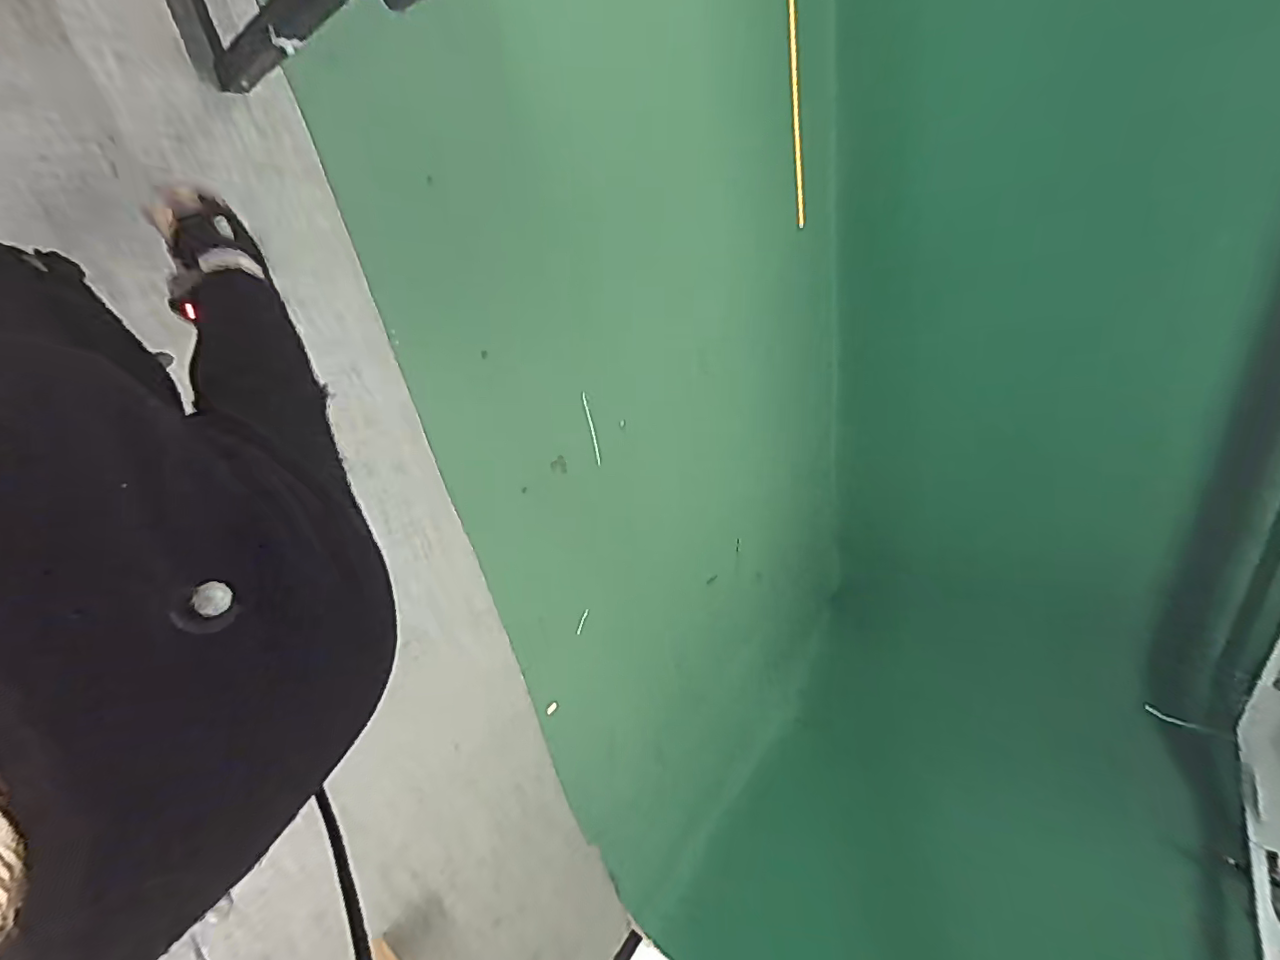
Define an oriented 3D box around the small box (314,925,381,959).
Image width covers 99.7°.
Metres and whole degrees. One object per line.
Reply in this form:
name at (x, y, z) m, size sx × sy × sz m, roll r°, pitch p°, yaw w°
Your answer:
small box at (-0.933, 1.594, 1.738) m, size 0.168 × 0.176 × 0.179 m, roll -37°, pitch 128°, yaw -42°
